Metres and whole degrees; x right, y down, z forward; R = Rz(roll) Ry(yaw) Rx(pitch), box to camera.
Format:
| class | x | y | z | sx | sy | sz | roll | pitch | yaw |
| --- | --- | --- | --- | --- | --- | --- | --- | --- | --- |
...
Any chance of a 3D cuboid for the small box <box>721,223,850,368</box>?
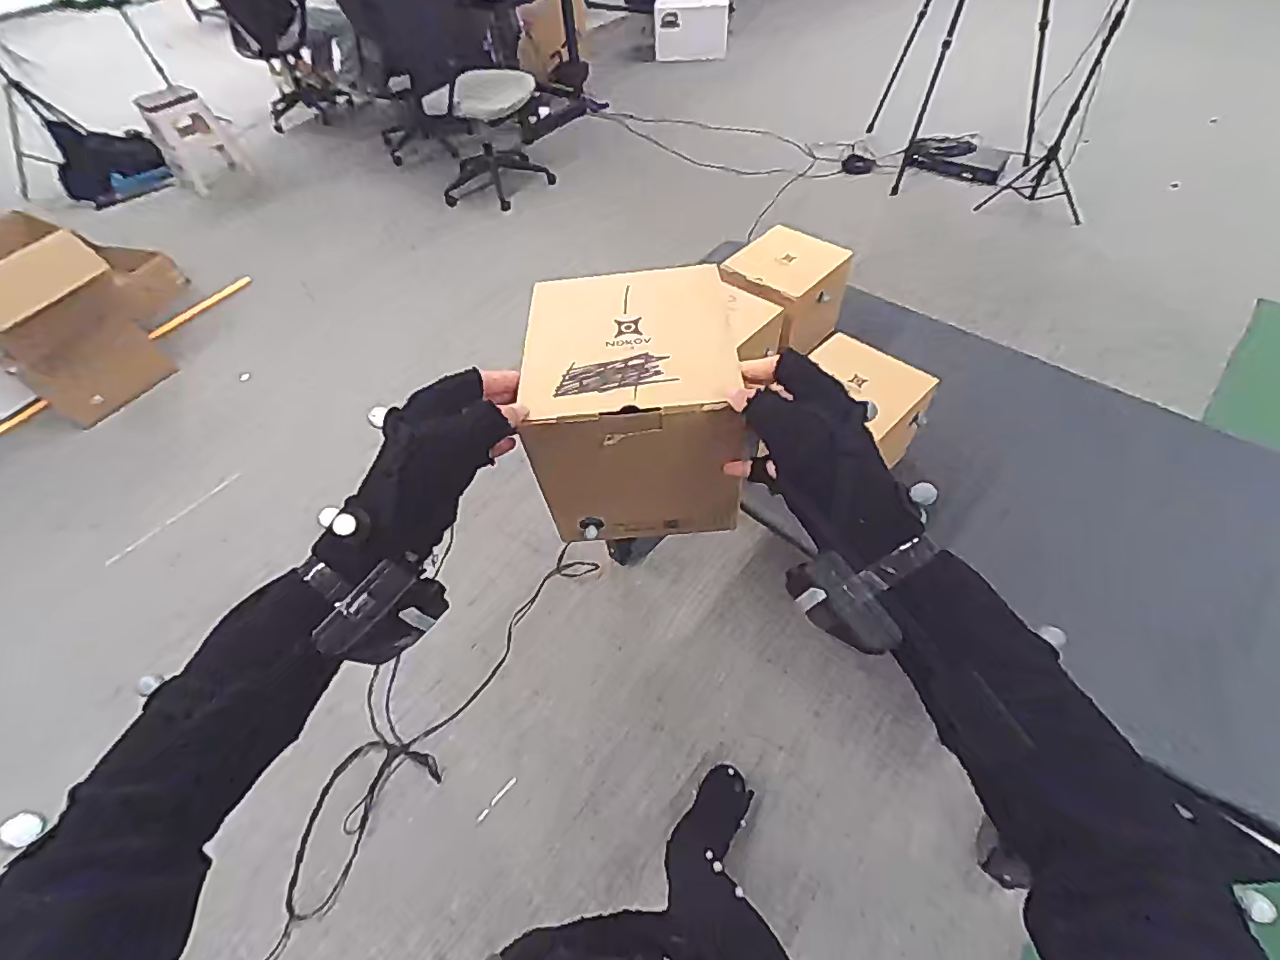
| class | x | y | z | sx | sy | sz | roll | pitch | yaw |
| --- | --- | --- | --- | --- | --- | --- | --- | --- | --- |
| small box | 0.263 | -0.348 | 1.024 | 0.168 | 0.176 | 0.179 | 37 | 64 | 27 |

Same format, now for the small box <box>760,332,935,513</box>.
| class | x | y | z | sx | sy | sz | roll | pitch | yaw |
| --- | --- | --- | --- | --- | --- | --- | --- | --- | --- |
| small box | 0.300 | -0.086 | 0.822 | 0.179 | 0.176 | 0.168 | -39 | 60 | -23 |

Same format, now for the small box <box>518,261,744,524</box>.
| class | x | y | z | sx | sy | sz | roll | pitch | yaw |
| --- | --- | --- | --- | --- | --- | --- | --- | --- | --- |
| small box | -0.001 | -0.070 | 0.493 | 0.168 | 0.176 | 0.179 | -3 | 52 | 3 |
